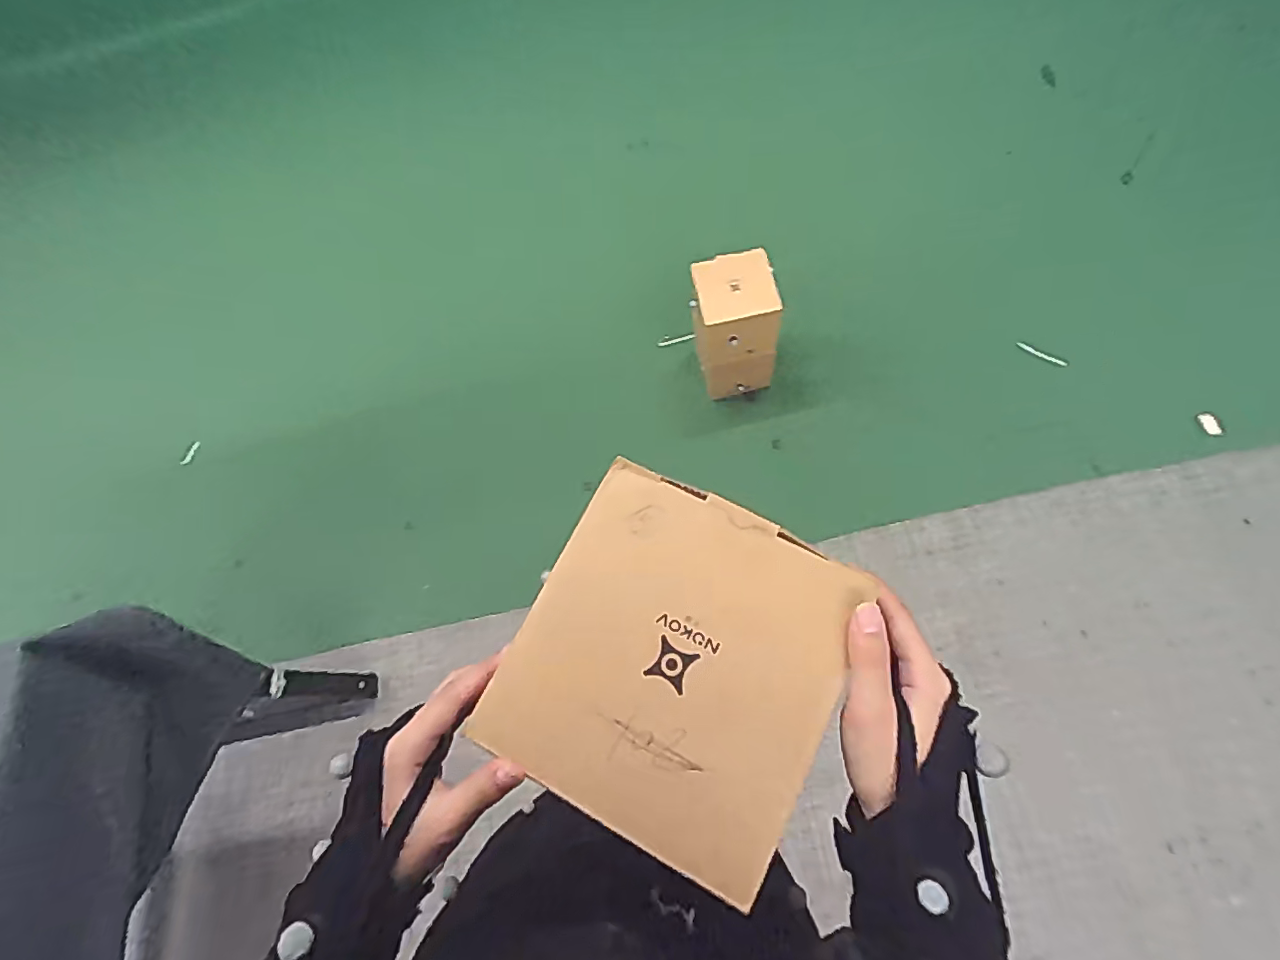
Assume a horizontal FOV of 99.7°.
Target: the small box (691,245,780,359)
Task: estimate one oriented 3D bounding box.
[{"bbox_3d":[0.218,-0.397,1.241,0.168,0.176,0.179,-12,67,5],"label":"small box"}]
